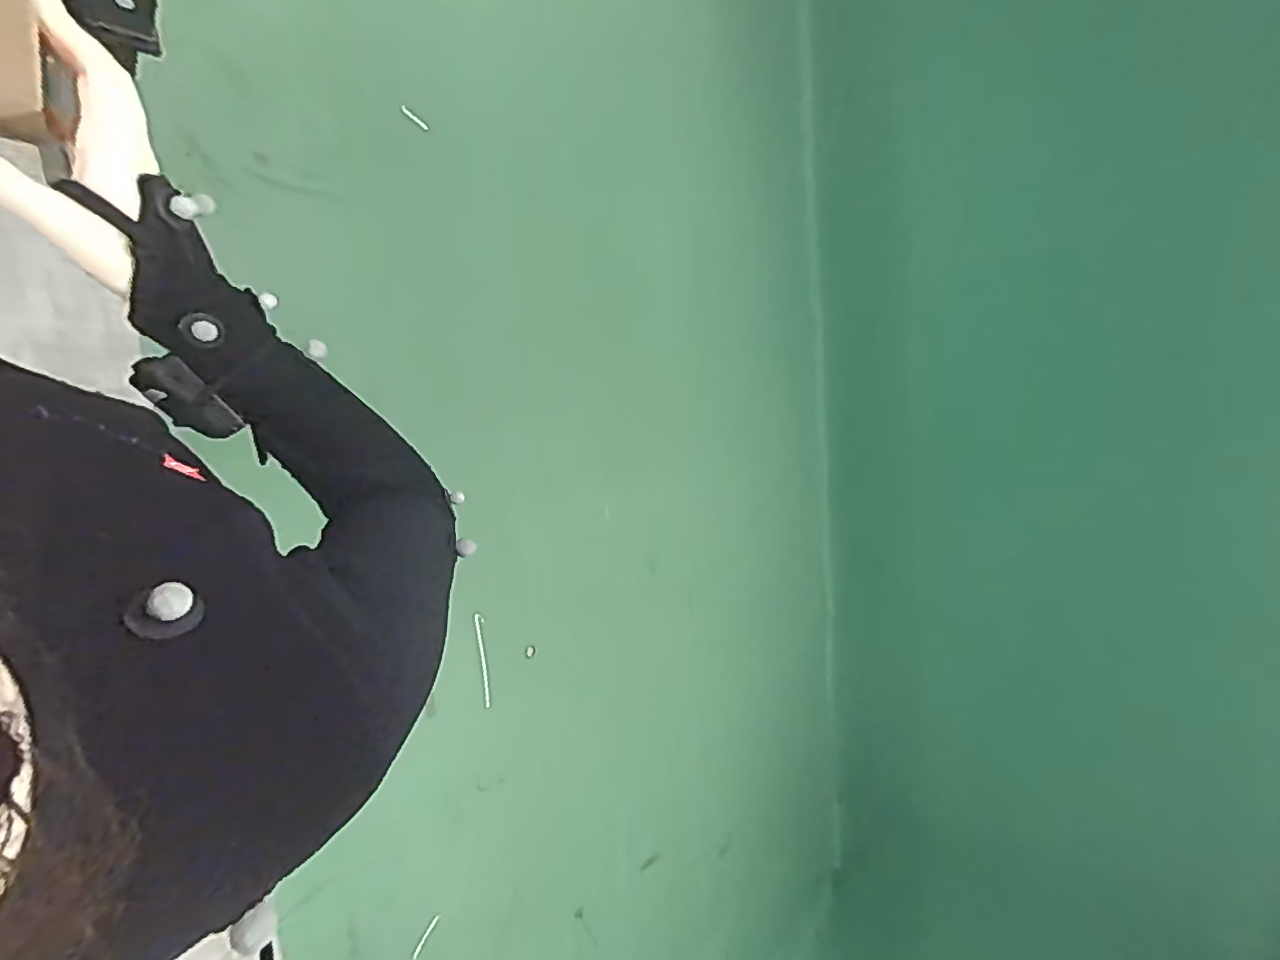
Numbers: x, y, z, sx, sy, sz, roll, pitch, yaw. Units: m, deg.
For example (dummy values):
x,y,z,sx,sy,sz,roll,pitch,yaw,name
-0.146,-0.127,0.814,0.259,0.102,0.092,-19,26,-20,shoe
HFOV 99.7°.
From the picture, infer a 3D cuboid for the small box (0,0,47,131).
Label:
x,y,z,sx,sy,sz,roll,pitch,yaw,name
-0.354,-0.269,0.198,0.179,0.176,0.168,-5,94,-47,small box
